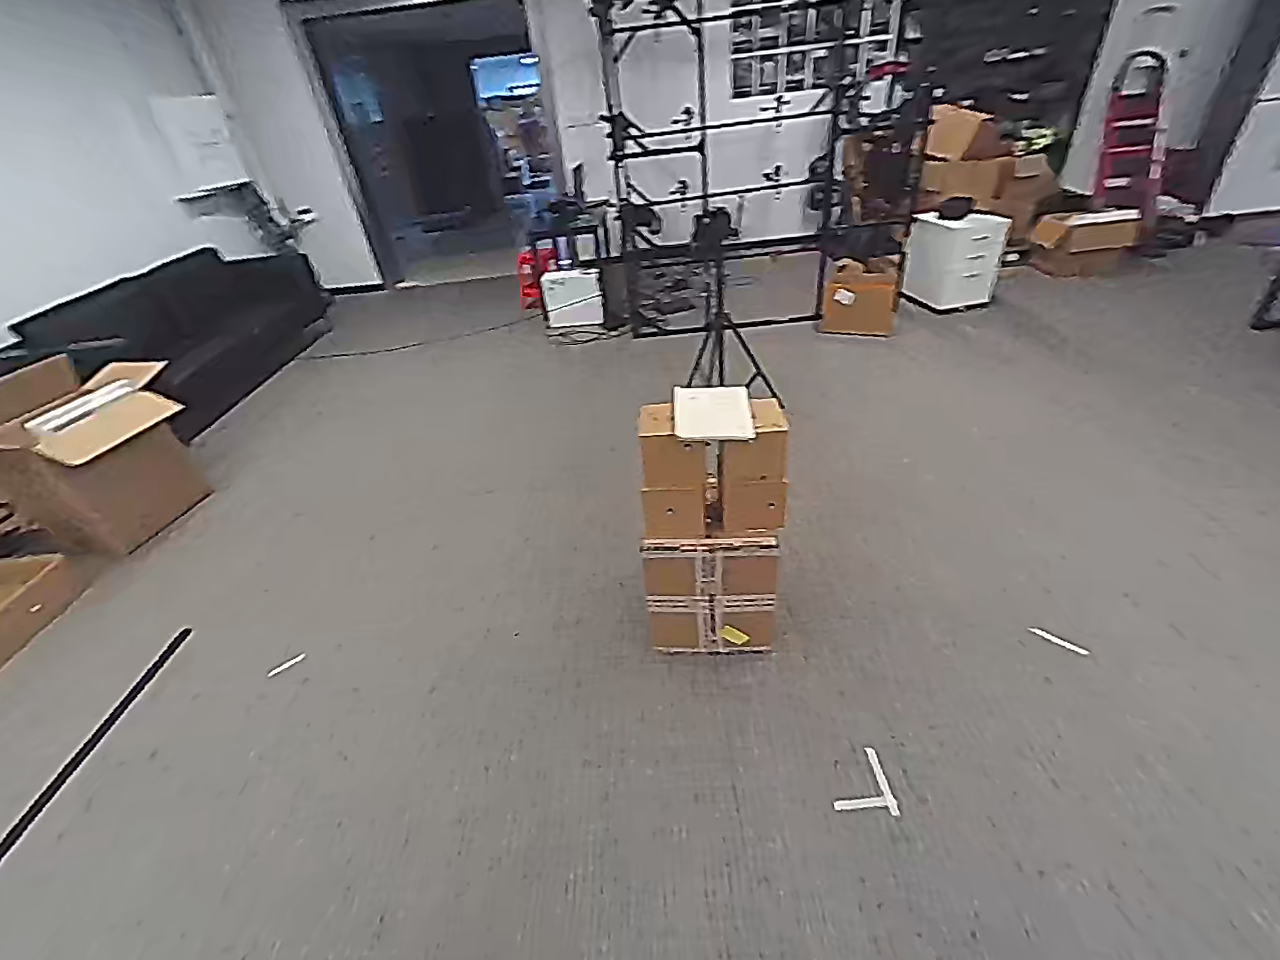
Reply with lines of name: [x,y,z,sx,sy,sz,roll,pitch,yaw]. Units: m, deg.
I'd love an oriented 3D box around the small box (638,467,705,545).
small box: [0.099,0.078,1.585,0.179,0.176,0.168,-2,37,10]

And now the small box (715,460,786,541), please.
small box: [0.314,0.061,1.572,0.179,0.176,0.168,-5,36,2]
